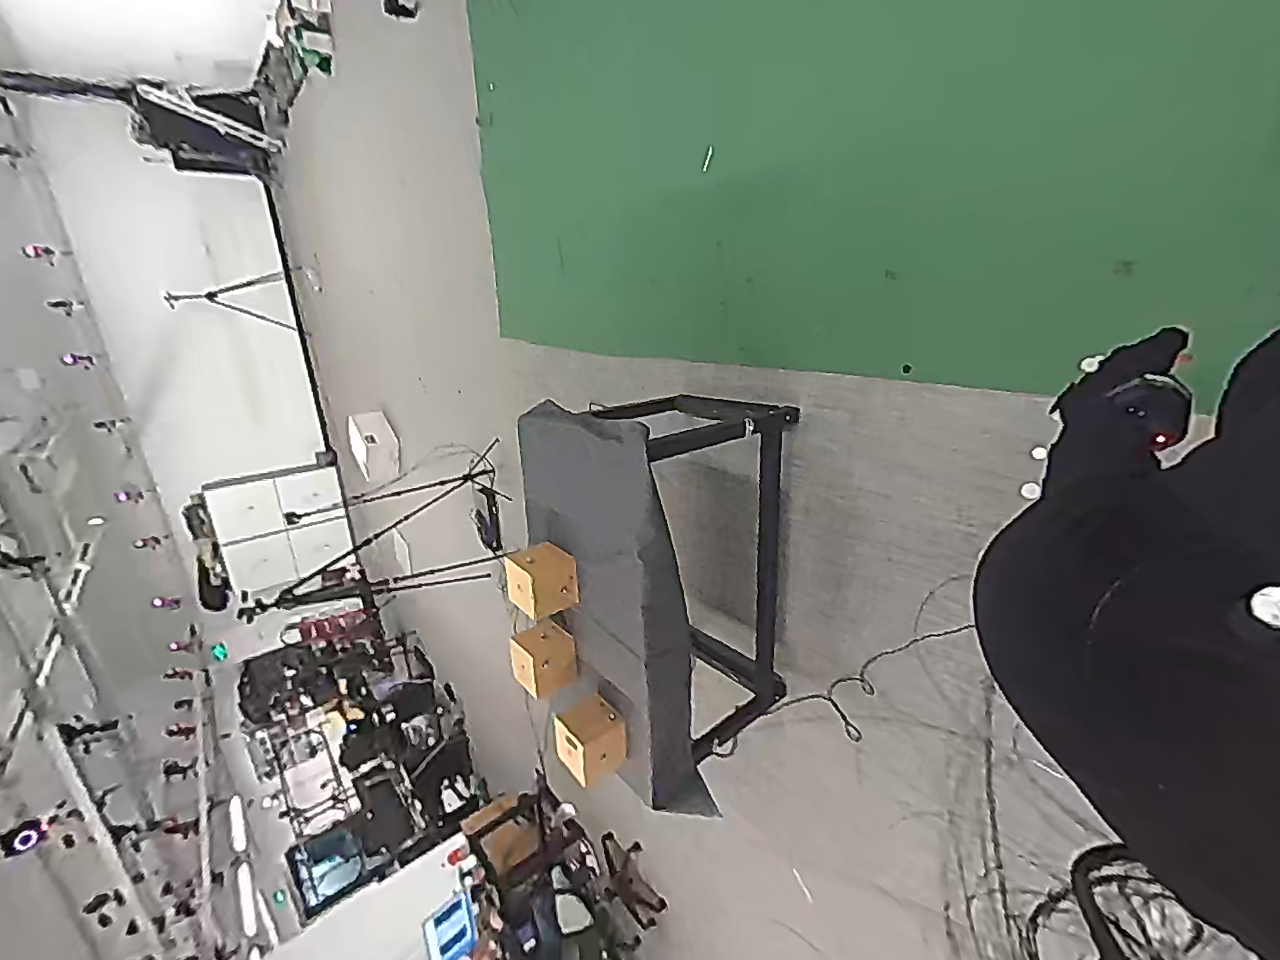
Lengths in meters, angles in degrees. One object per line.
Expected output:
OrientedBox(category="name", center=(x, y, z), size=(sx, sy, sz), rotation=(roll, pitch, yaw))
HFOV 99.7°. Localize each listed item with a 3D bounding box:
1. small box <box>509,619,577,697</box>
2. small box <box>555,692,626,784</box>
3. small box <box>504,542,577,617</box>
OrientedBox(category="small box", center=(-0.339, 0.618, 1.904), size=(0.168, 0.176, 0.179), rotation=(18, 118, 46))
OrientedBox(category="small box", center=(-0.158, 0.831, 1.762), size=(0.168, 0.176, 0.179), rotation=(22, 121, 46))
OrientedBox(category="small box", center=(-0.324, 0.317, 1.774), size=(0.179, 0.176, 0.168), rotation=(20, 118, 45))
